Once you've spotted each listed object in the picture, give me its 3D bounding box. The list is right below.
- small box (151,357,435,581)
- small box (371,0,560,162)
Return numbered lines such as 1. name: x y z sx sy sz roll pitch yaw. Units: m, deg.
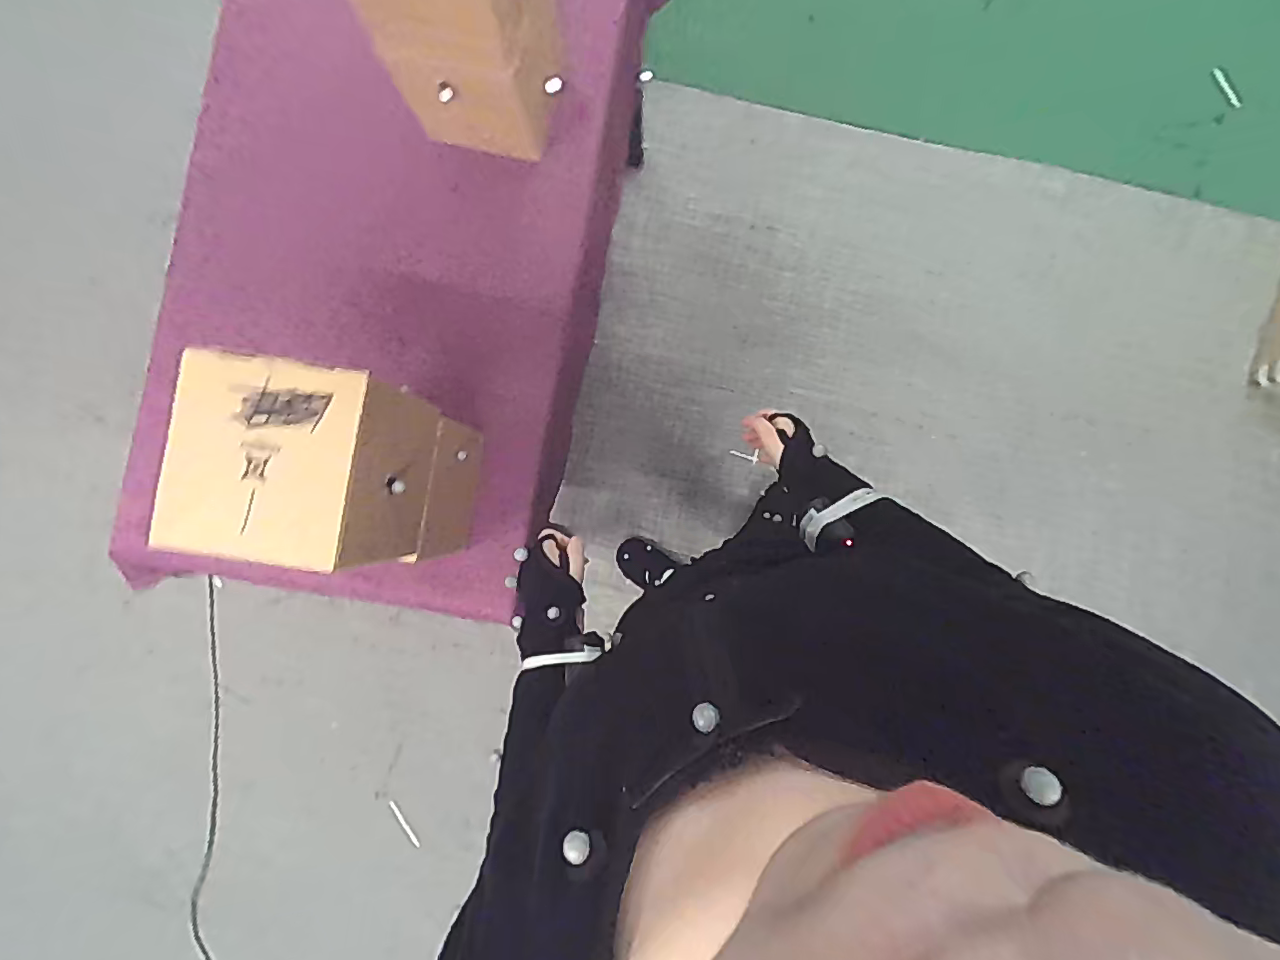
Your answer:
1. small box: -0.325 -0.007 0.545 0.168 0.176 0.179 8 88 1
2. small box: -0.220 -0.565 0.727 0.179 0.176 0.168 13 89 1
